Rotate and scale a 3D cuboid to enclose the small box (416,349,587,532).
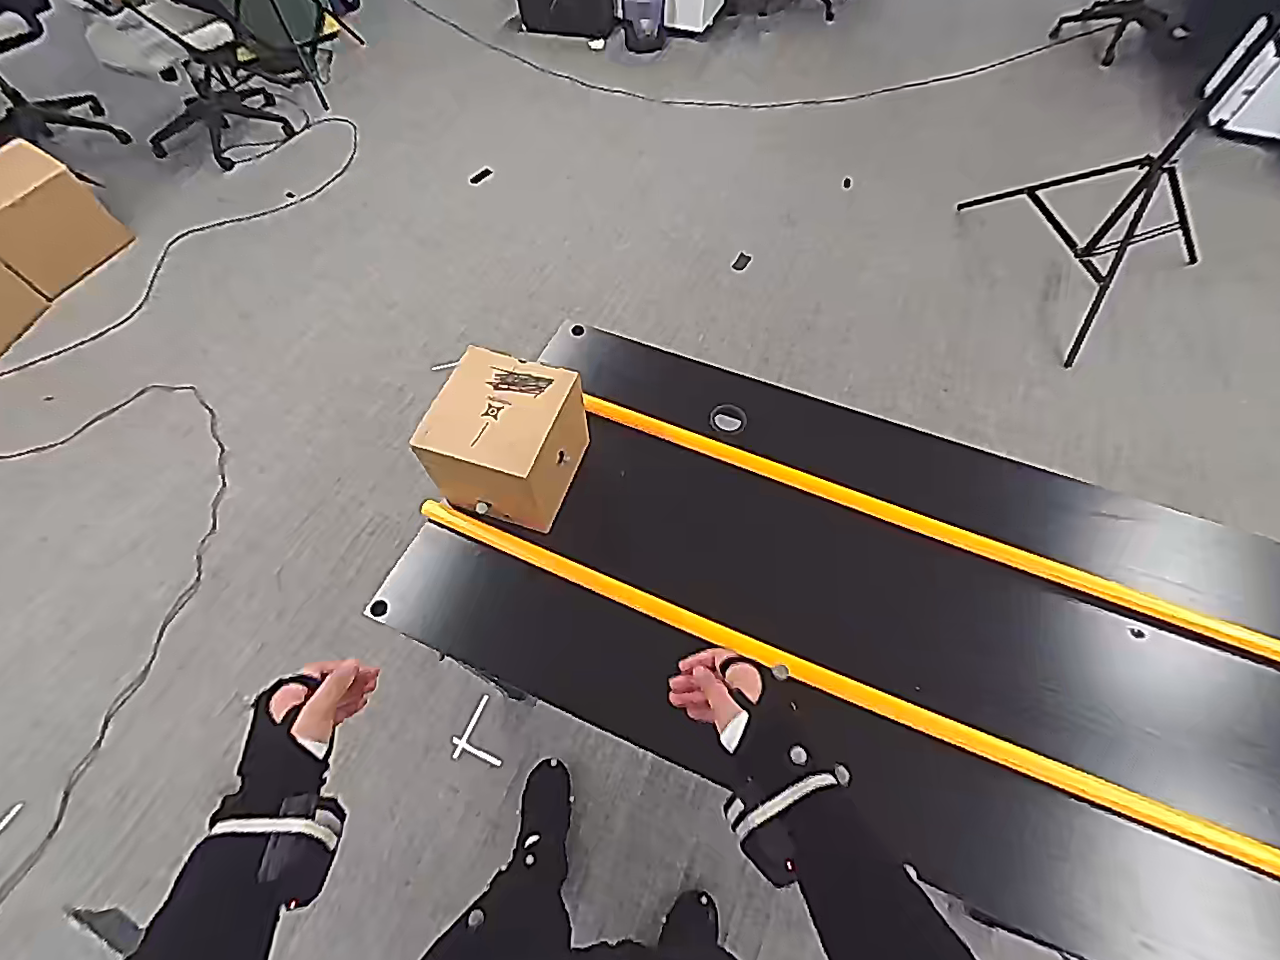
[{"bbox_3d":[-0.182,-0.052,0.779,0.168,0.176,0.179,16,62,9],"label":"small box"}]
